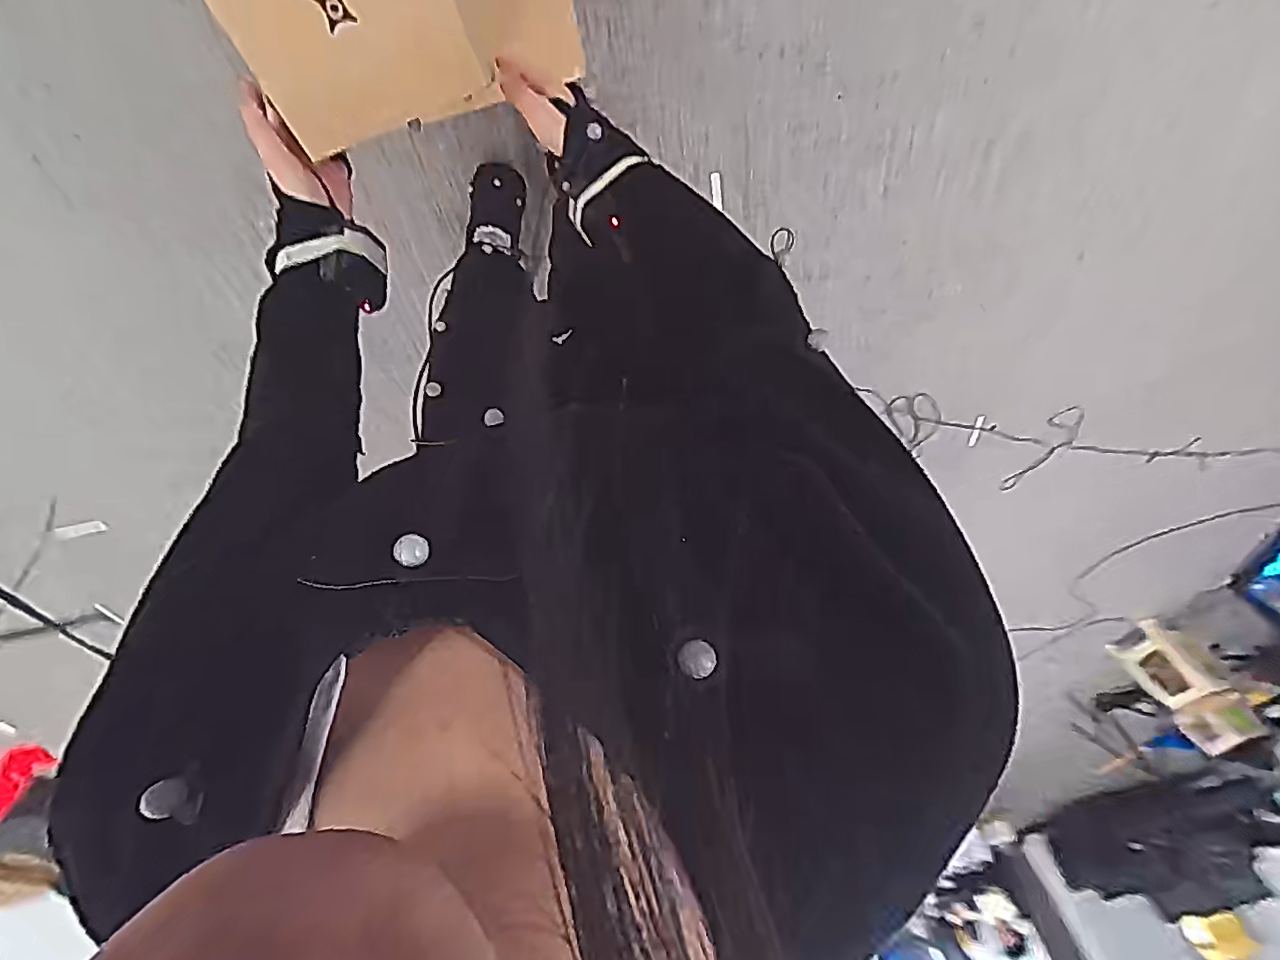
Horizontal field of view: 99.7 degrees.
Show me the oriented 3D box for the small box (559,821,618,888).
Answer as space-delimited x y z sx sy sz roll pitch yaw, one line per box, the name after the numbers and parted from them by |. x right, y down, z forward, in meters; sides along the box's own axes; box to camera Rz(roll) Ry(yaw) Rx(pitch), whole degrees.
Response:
-0.179 1.304 1.870 0.168 0.176 0.179 -13 134 -1 | small box

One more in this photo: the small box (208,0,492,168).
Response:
-0.236 -0.403 0.455 0.168 0.176 0.179 -20 133 5 | small box

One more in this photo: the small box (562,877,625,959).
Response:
-0.153 1.416 1.753 0.168 0.176 0.179 -12 133 -1 | small box
